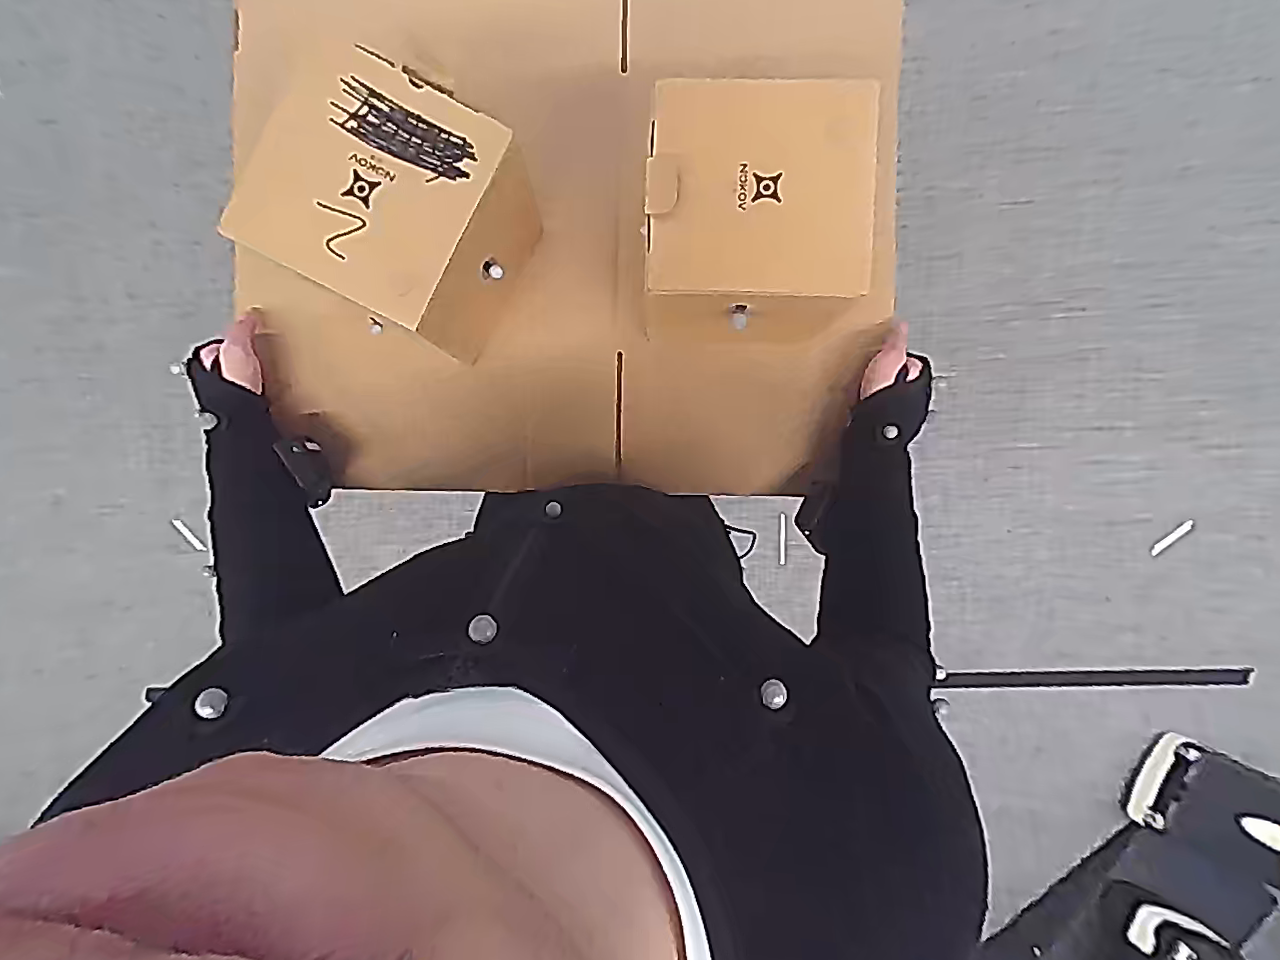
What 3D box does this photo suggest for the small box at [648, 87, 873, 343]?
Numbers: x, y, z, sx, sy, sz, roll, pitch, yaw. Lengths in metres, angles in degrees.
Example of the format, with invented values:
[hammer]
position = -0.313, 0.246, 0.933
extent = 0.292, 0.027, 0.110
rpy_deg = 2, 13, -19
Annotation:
[small box]
position = 0.099, -0.233, 0.514
extent = 0.179, 0.176, 0.168
rpy_deg = 2, 91, 3
